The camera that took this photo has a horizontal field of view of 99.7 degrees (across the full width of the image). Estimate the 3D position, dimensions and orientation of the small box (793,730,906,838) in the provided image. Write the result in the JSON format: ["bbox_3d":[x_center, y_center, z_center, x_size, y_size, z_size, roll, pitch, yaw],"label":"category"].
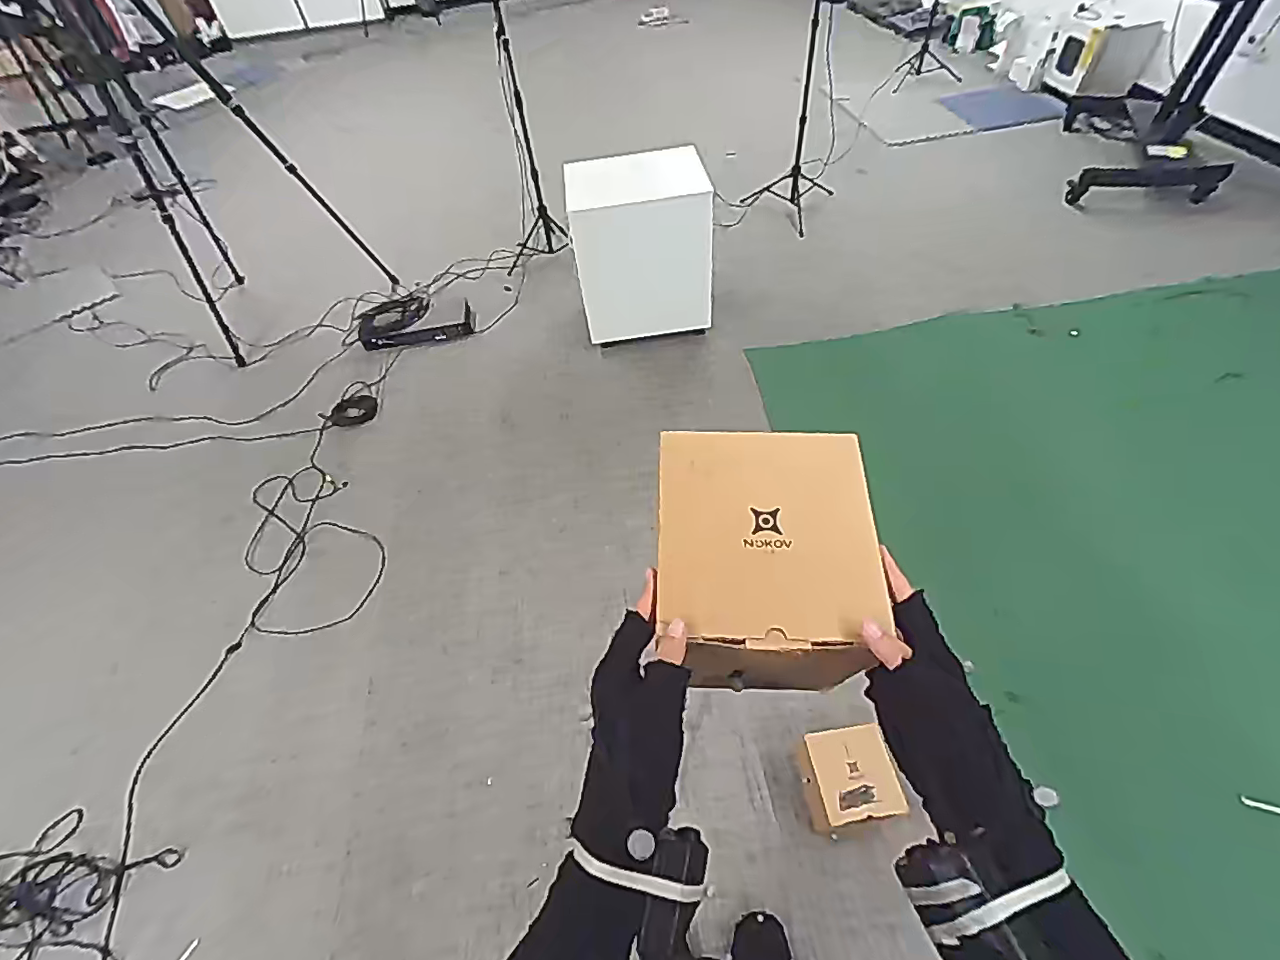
[{"bbox_3d":[0.451,0.676,1.194,0.168,0.176,0.179,-8,50,-2],"label":"small box"}]

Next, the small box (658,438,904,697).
[{"bbox_3d":[0.101,0.082,0.477,0.168,0.176,0.179,1,59,2],"label":"small box"}]
